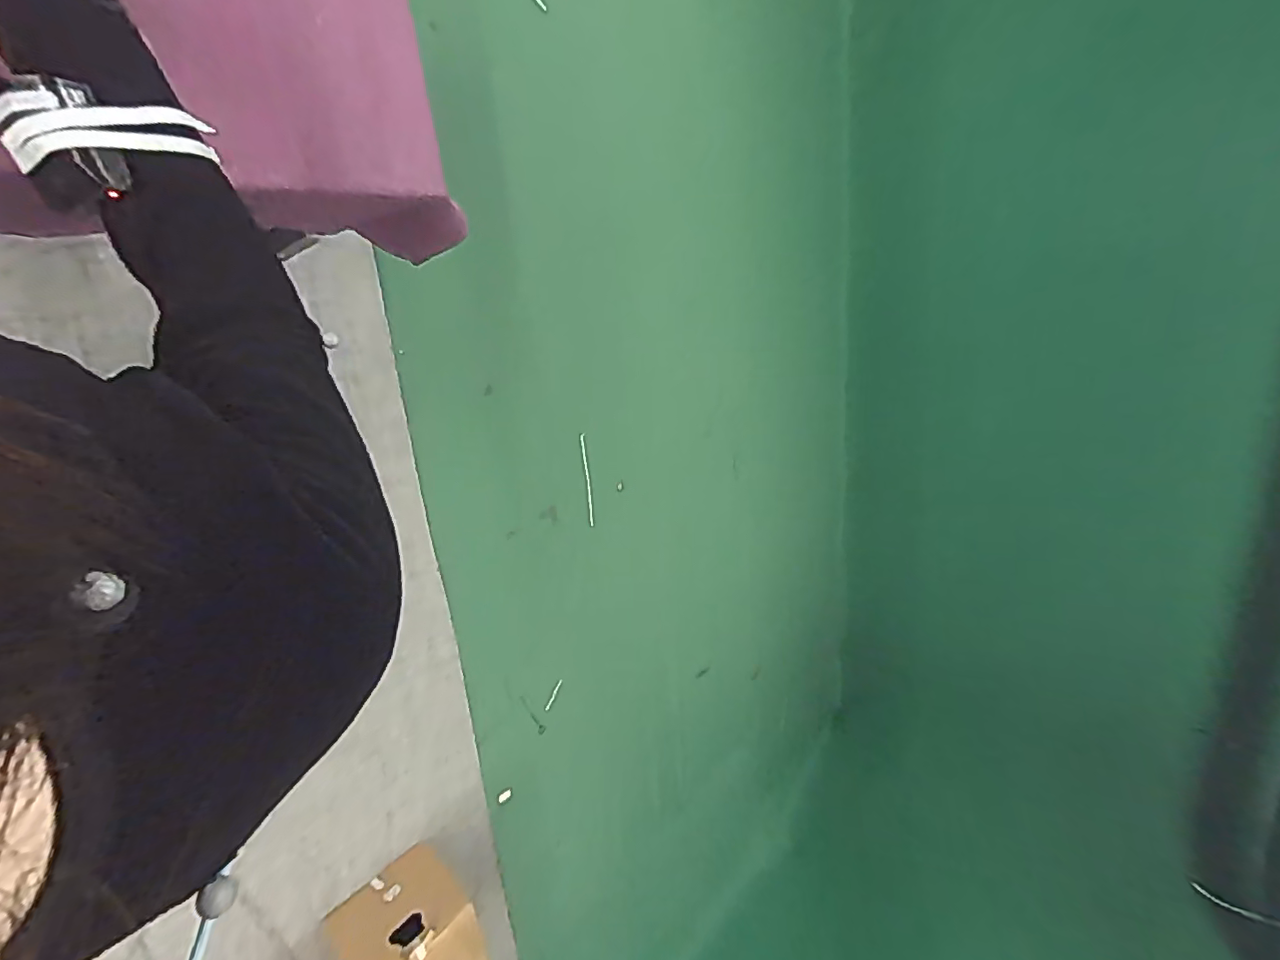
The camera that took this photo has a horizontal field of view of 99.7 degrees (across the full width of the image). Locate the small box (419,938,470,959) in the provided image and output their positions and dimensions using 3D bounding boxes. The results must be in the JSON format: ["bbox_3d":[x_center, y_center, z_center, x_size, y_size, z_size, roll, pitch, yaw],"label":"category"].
[{"bbox_3d":[-0.517,1.350,1.399,0.168,0.176,0.179,-21,113,-45],"label":"small box"}]

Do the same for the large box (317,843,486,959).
[{"bbox_3d":[-0.684,1.401,1.591,0.320,0.320,0.408,-23,115,-44],"label":"large box"}]
